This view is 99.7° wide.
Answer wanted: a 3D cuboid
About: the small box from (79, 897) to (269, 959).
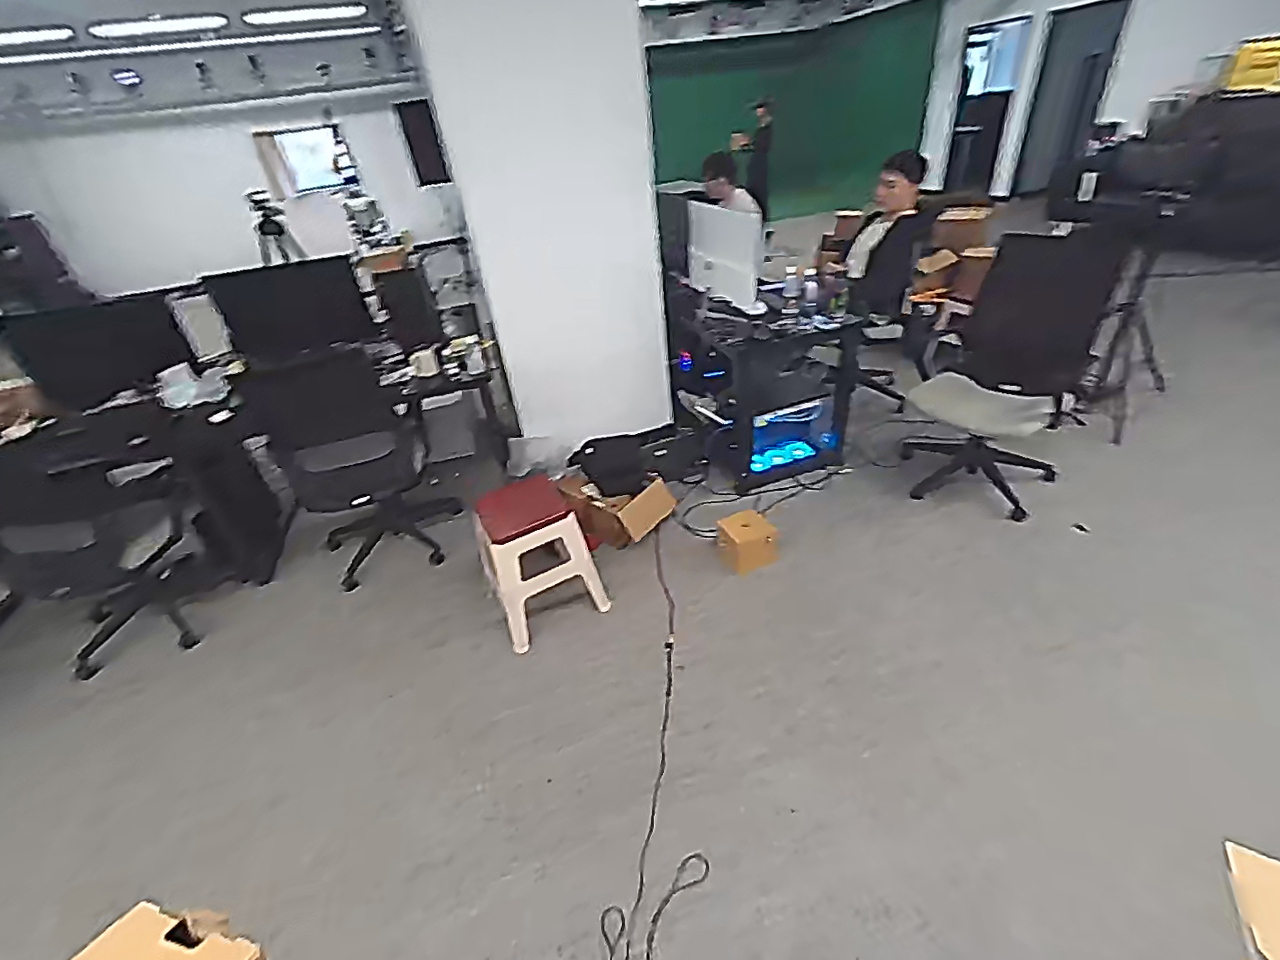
[{"bbox_3d":[-0.432,0.521,0.460,0.168,0.176,0.179,2,15,18],"label":"small box"}]
